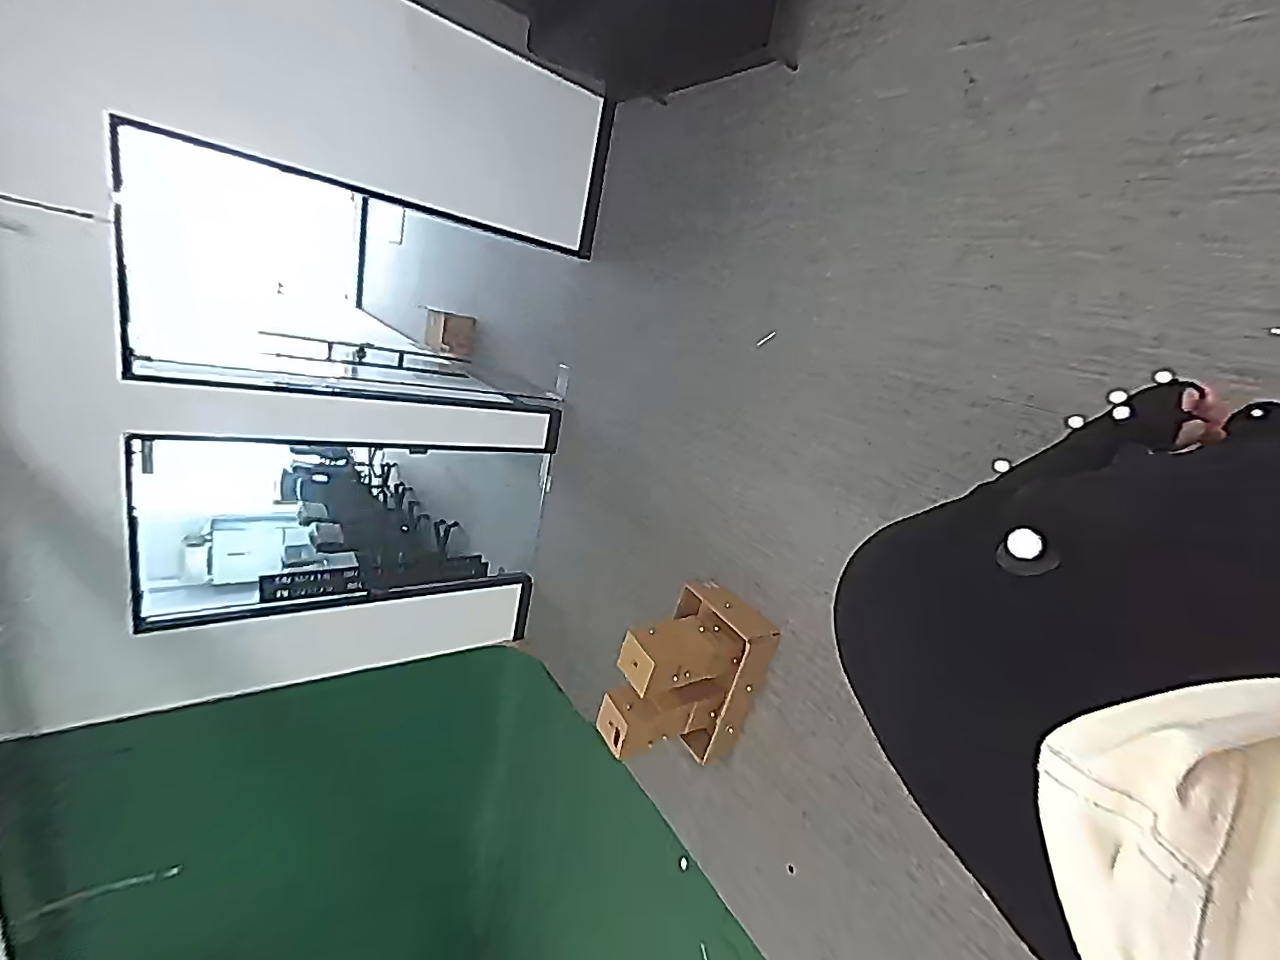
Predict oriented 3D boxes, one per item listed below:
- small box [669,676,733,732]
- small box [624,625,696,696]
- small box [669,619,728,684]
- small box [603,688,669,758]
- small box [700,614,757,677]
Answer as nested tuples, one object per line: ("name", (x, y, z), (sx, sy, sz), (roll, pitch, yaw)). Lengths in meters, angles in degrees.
("small box", (0.255, 0.916, 2.267), (0.179, 0.176, 0.168), (39, 120, 47))
("small box", (0.072, 0.648, 1.965), (0.179, 0.176, 0.168), (41, 122, 45))
("small box", (0.203, 0.648, 2.063), (0.179, 0.176, 0.168), (41, 122, 46))
("small box", (-0.013, 0.921, 2.076), (0.179, 0.176, 0.168), (39, 120, 49))
("small box", (0.332, 0.654, 2.164), (0.179, 0.176, 0.168), (38, 120, 46))
